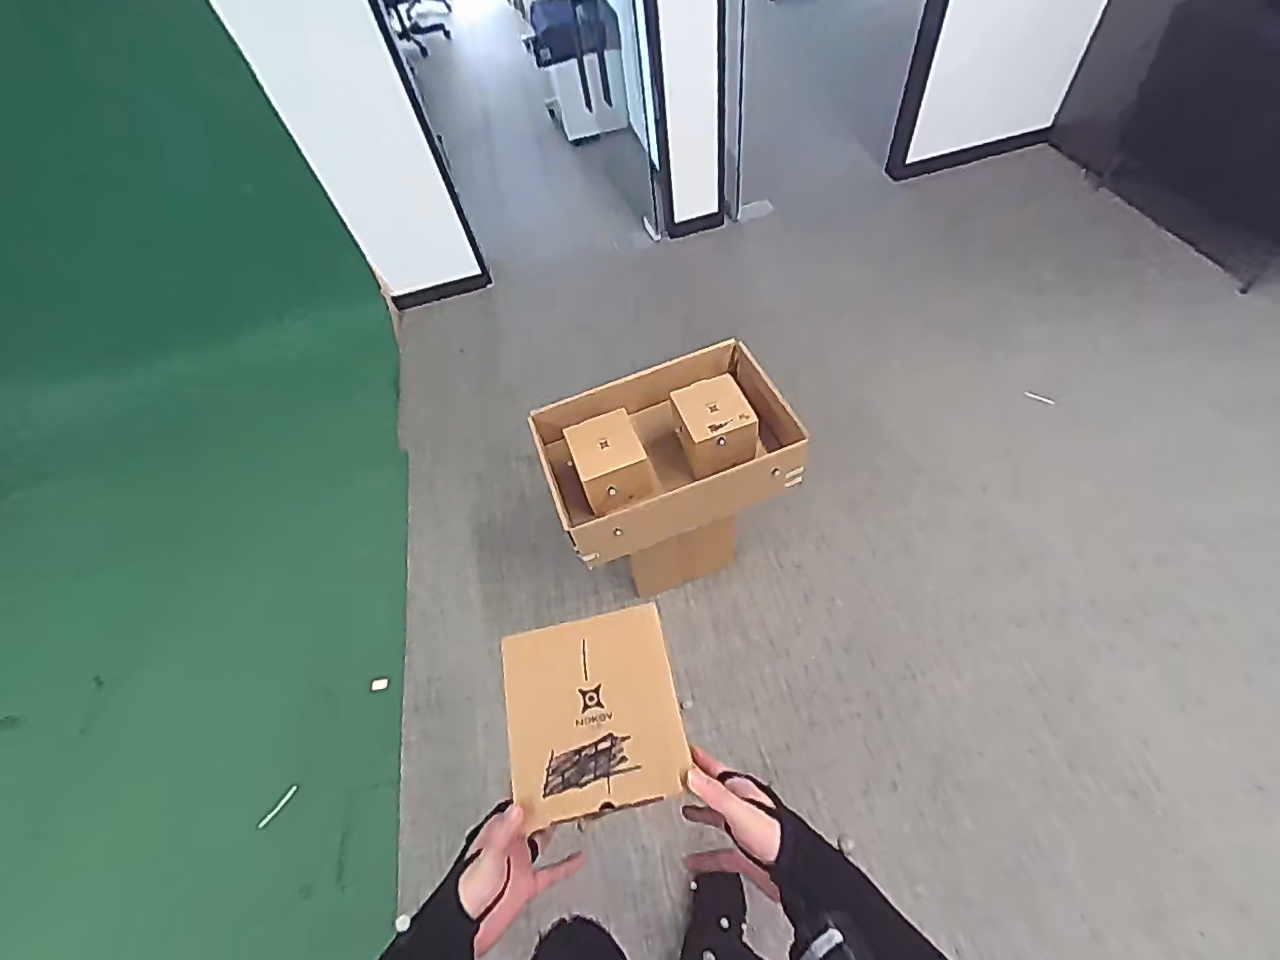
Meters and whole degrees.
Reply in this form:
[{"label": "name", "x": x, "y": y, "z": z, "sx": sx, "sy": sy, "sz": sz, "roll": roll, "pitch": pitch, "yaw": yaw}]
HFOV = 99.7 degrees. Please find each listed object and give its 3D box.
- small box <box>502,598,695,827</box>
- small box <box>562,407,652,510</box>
[{"label": "small box", "x": -0.038, "y": 0.247, "z": 0.576, "sx": 0.168, "sy": 0.176, "sz": 0.179, "roll": -12, "pitch": 60, "yaw": -1}, {"label": "small box", "x": -0.077, "y": -0.044, "z": 1.350, "sx": 0.168, "sy": 0.176, "sz": 0.179, "roll": -20, "pitch": 55, "yaw": -5}]
